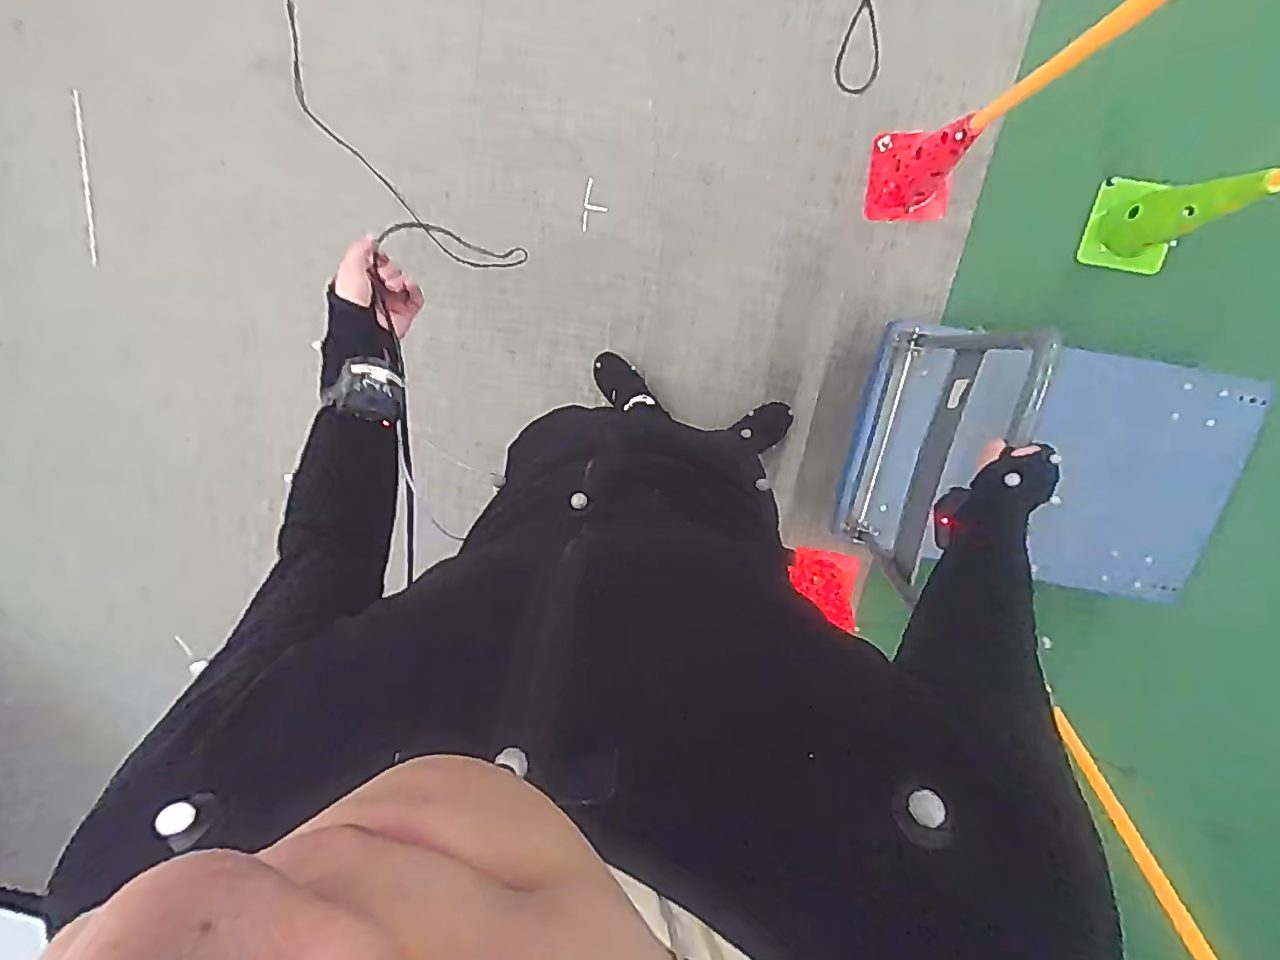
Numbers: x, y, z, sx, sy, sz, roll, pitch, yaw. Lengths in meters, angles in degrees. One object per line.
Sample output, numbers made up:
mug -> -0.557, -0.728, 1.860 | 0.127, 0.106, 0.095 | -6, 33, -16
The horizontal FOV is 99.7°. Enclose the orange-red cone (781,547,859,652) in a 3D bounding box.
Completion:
orange-red cone -> 0.524, 0.349, 1.463 | 0.199, 0.360, 0.198 | 11, 106, 2

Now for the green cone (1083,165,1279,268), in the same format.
green cone -> 1.182, -0.588, 1.140 | 0.202, 0.368, 0.200 | 11, 105, 3
